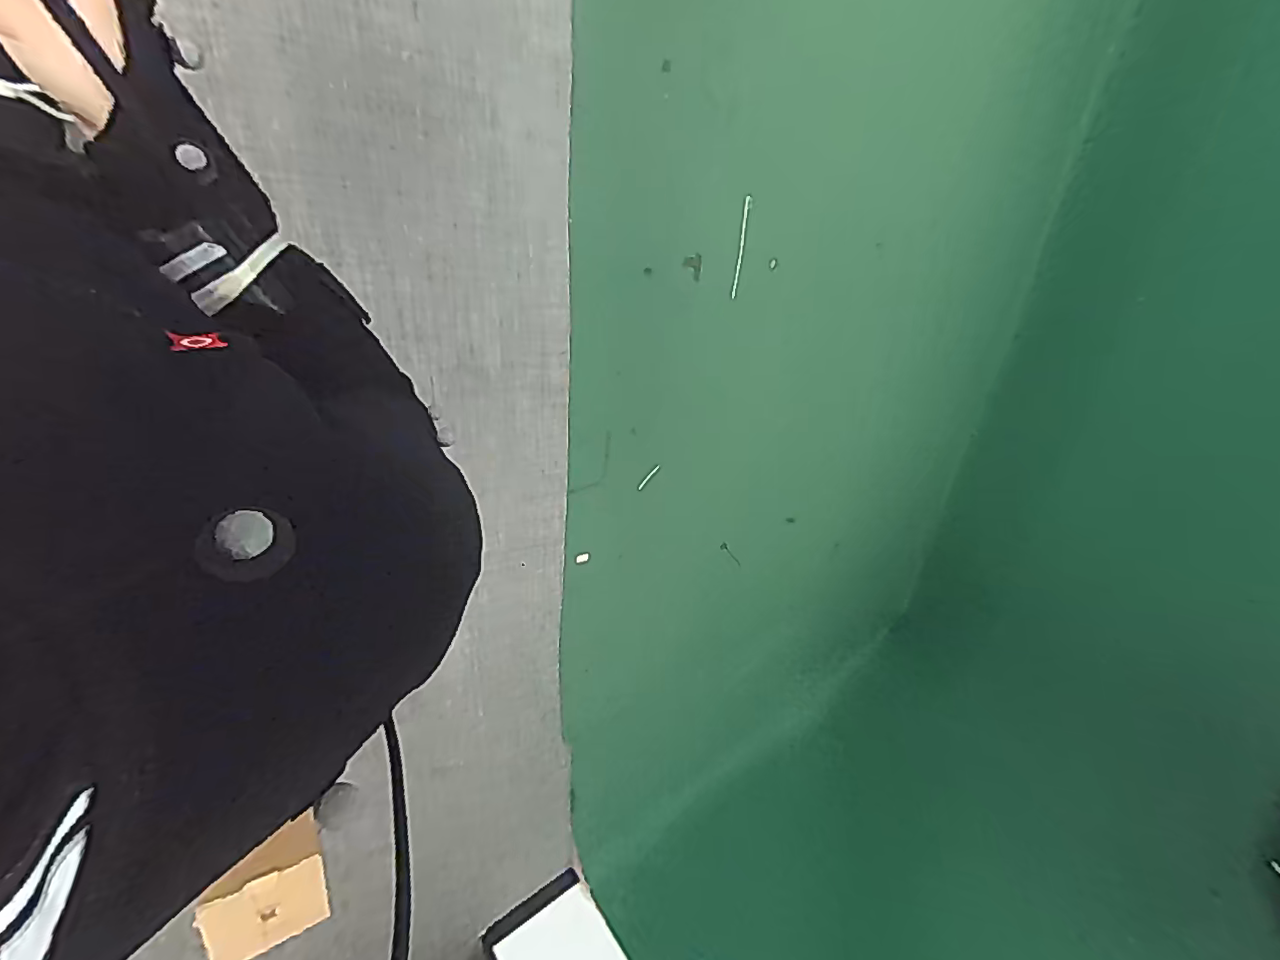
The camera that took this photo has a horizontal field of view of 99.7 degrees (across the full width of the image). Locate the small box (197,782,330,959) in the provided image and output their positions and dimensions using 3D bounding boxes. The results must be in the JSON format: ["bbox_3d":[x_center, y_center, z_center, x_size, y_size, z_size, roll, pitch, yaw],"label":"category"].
[{"bbox_3d":[-0.654,0.664,0.941,0.168,0.176,0.179,-10,120,-35],"label":"small box"}]
